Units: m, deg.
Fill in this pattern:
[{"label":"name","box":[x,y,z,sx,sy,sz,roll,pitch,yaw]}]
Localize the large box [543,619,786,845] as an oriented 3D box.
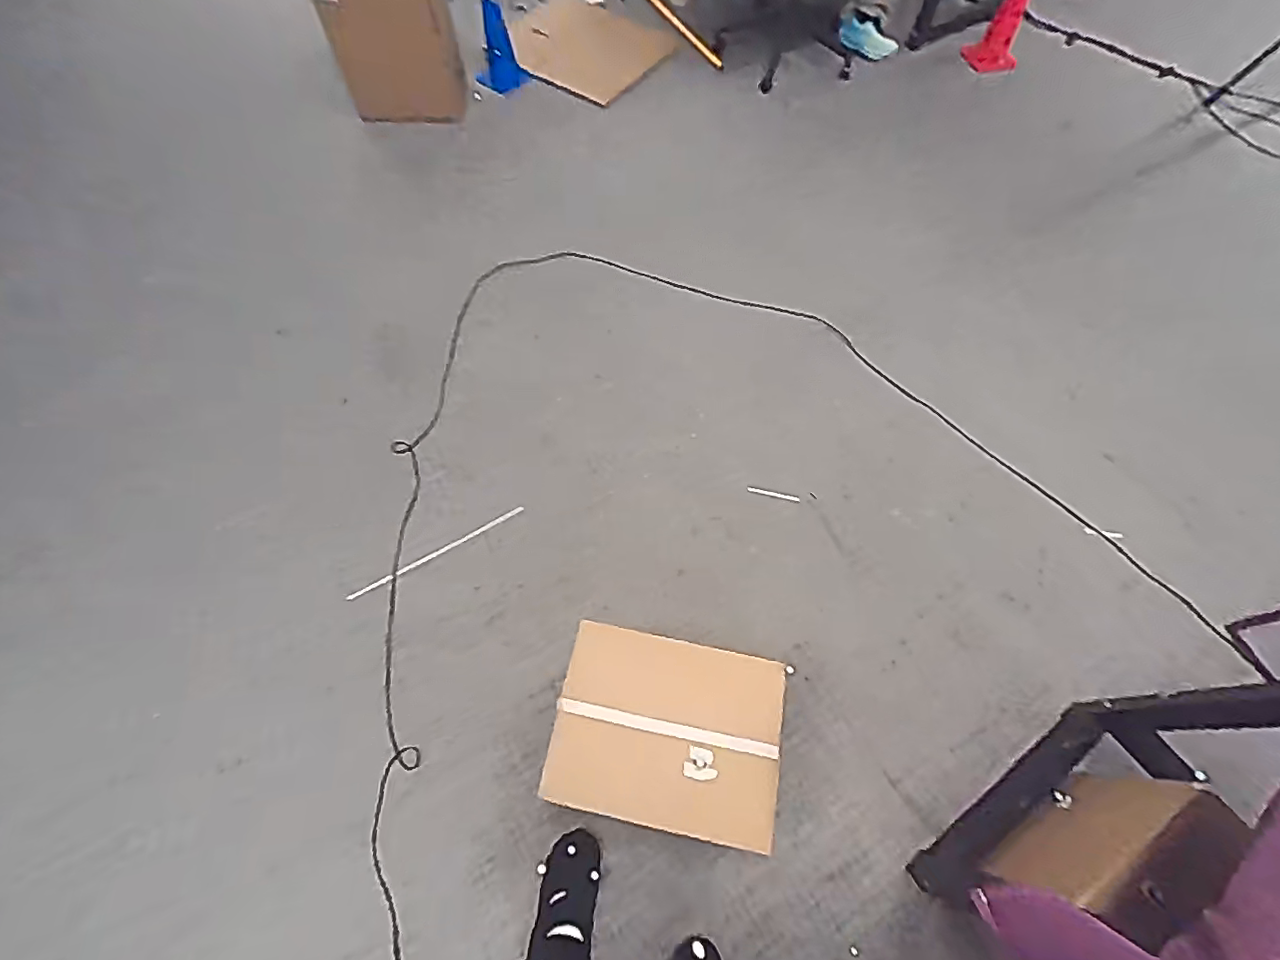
[{"label":"large box","box":[0.050,0.503,1.107,0.408,0.320,0.320,11,65,4]}]
